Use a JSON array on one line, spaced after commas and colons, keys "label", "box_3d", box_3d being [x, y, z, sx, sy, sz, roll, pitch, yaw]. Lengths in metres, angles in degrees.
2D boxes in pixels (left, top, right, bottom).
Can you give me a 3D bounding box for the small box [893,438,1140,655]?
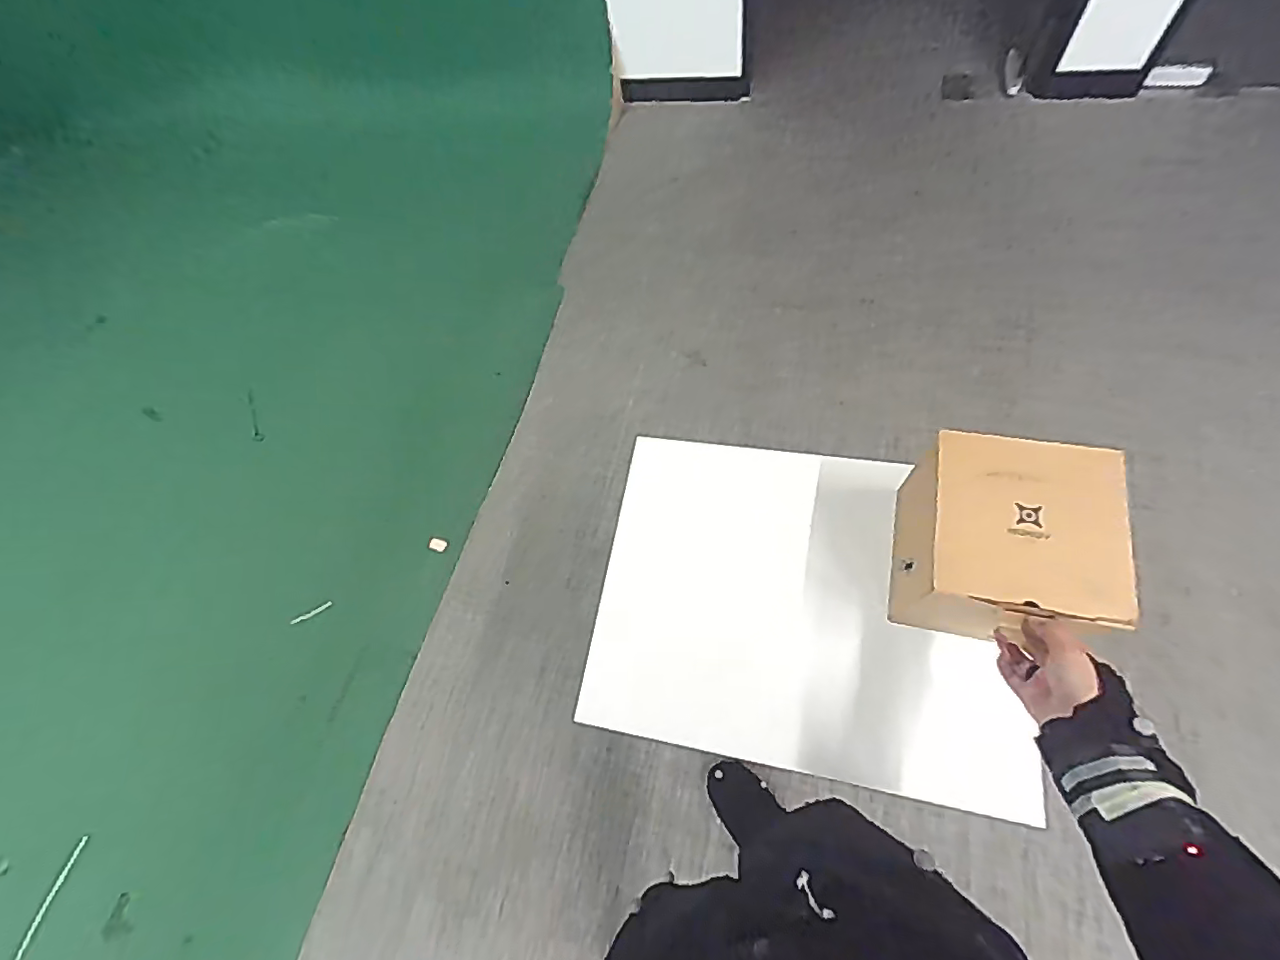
[{"label": "small box", "box_3d": [0.382, 0.079, 0.582, 0.168, 0.176, 0.179, 9, 67, 14]}]
